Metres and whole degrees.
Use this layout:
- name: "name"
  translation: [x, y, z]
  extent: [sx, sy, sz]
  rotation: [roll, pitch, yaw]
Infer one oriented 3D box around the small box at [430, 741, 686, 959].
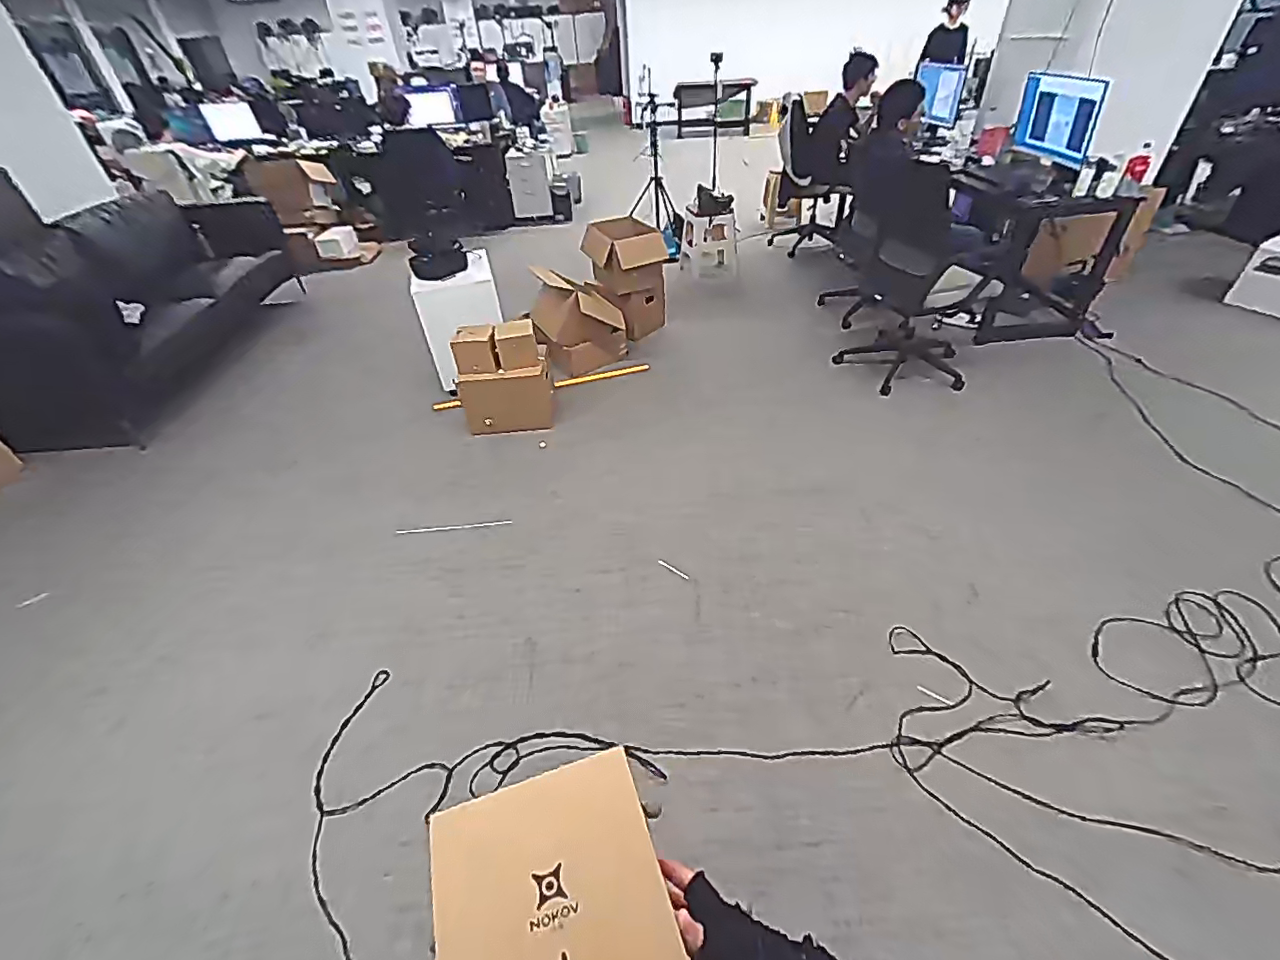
- name: "small box"
  translation: [-0.064, 0.356, 0.444]
  extent: [0.168, 0.176, 0.179]
  rotation: [-15, 45, -11]
